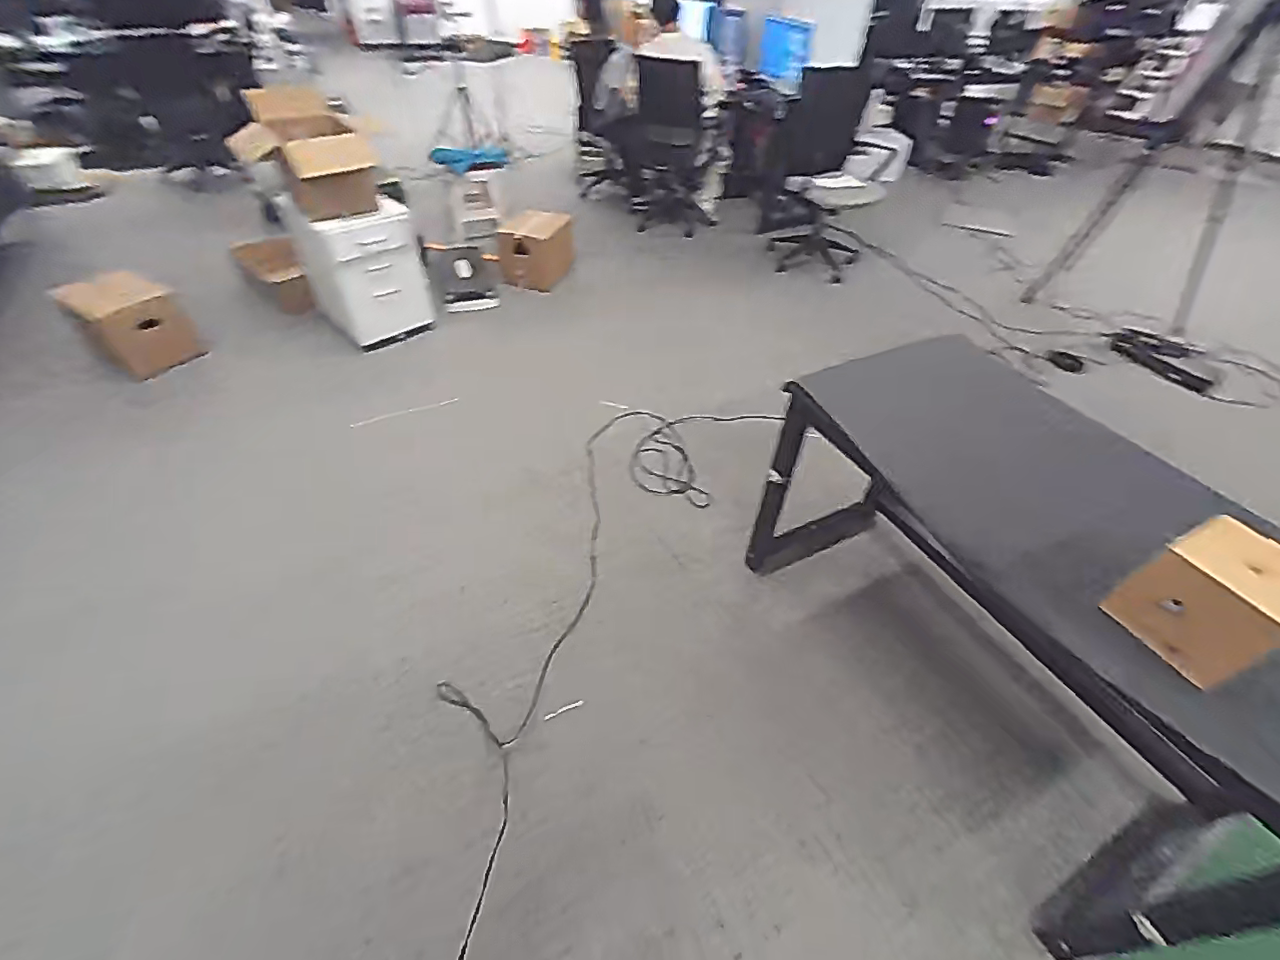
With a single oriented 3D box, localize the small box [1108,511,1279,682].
[{"bbox_3d":[0.891,0.182,0.840,0.179,0.176,0.168,-17,48,-21],"label":"small box"}]
